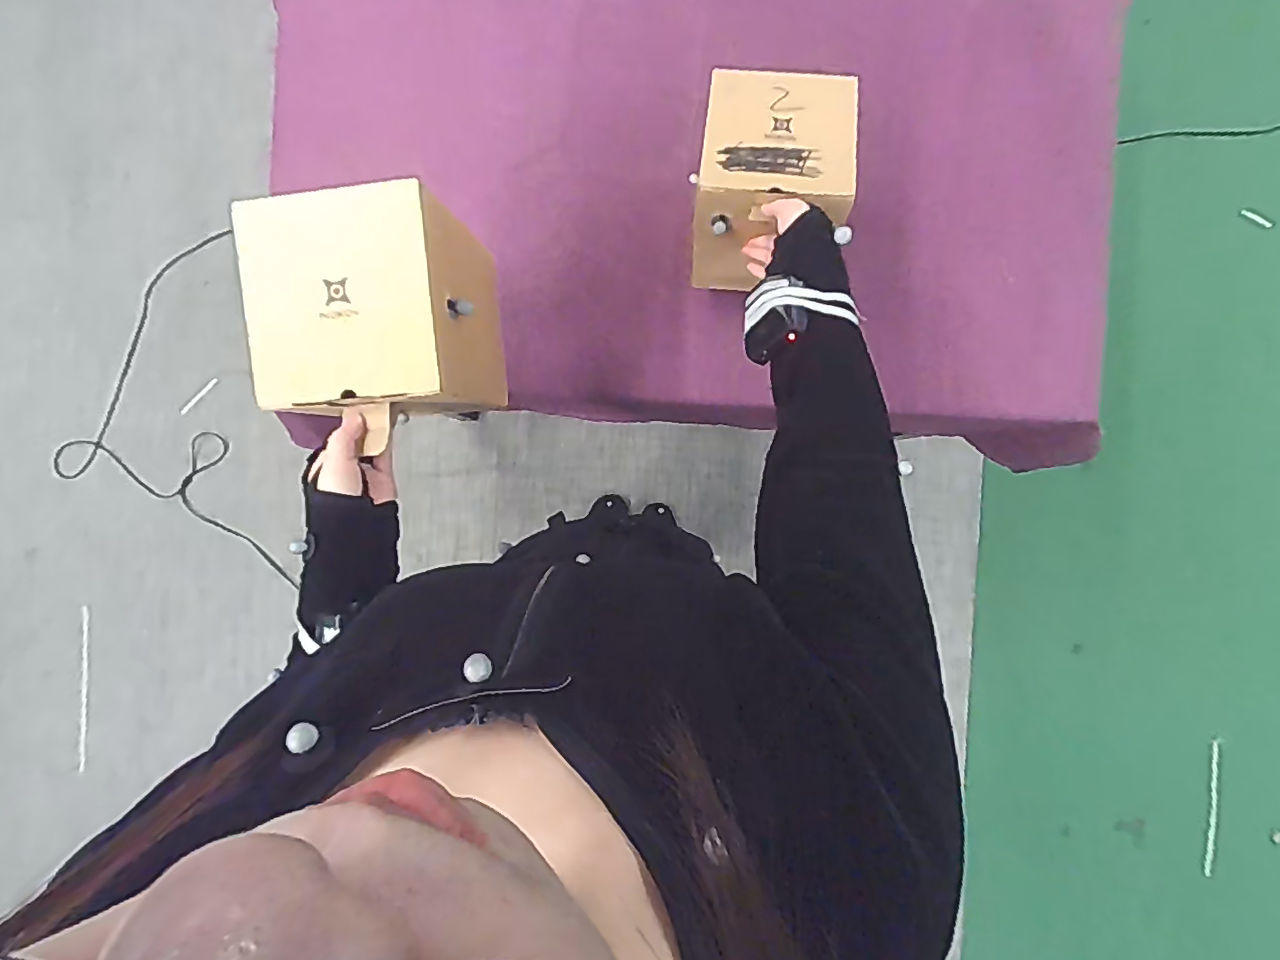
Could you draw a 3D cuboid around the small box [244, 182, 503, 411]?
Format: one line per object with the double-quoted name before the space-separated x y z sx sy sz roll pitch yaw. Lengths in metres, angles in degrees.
"small box" -0.248 -0.166 0.545 0.168 0.176 0.179 -4 95 5
